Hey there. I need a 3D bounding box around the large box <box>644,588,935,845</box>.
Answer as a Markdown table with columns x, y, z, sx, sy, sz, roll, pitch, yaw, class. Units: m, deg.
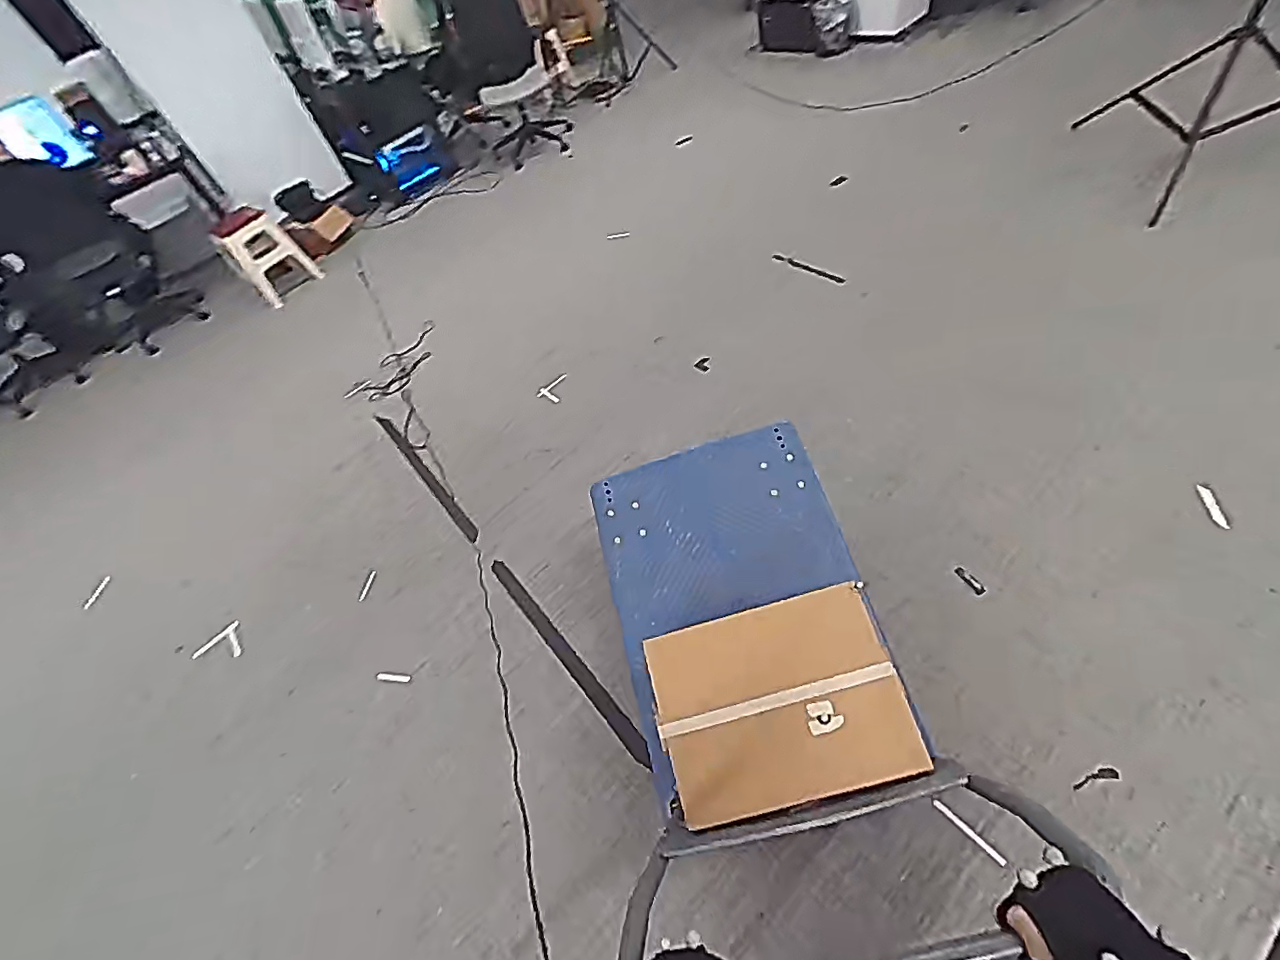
| x | y | z | sx | sy | sz | roll | pitch | yaw | class |
| --- | --- | --- | --- | --- | --- | --- | --- | --- | --- |
| 0.257 | 0.444 | 1.038 | 0.408 | 0.320 | 0.320 | -18 | 65 | 4 | large box |
